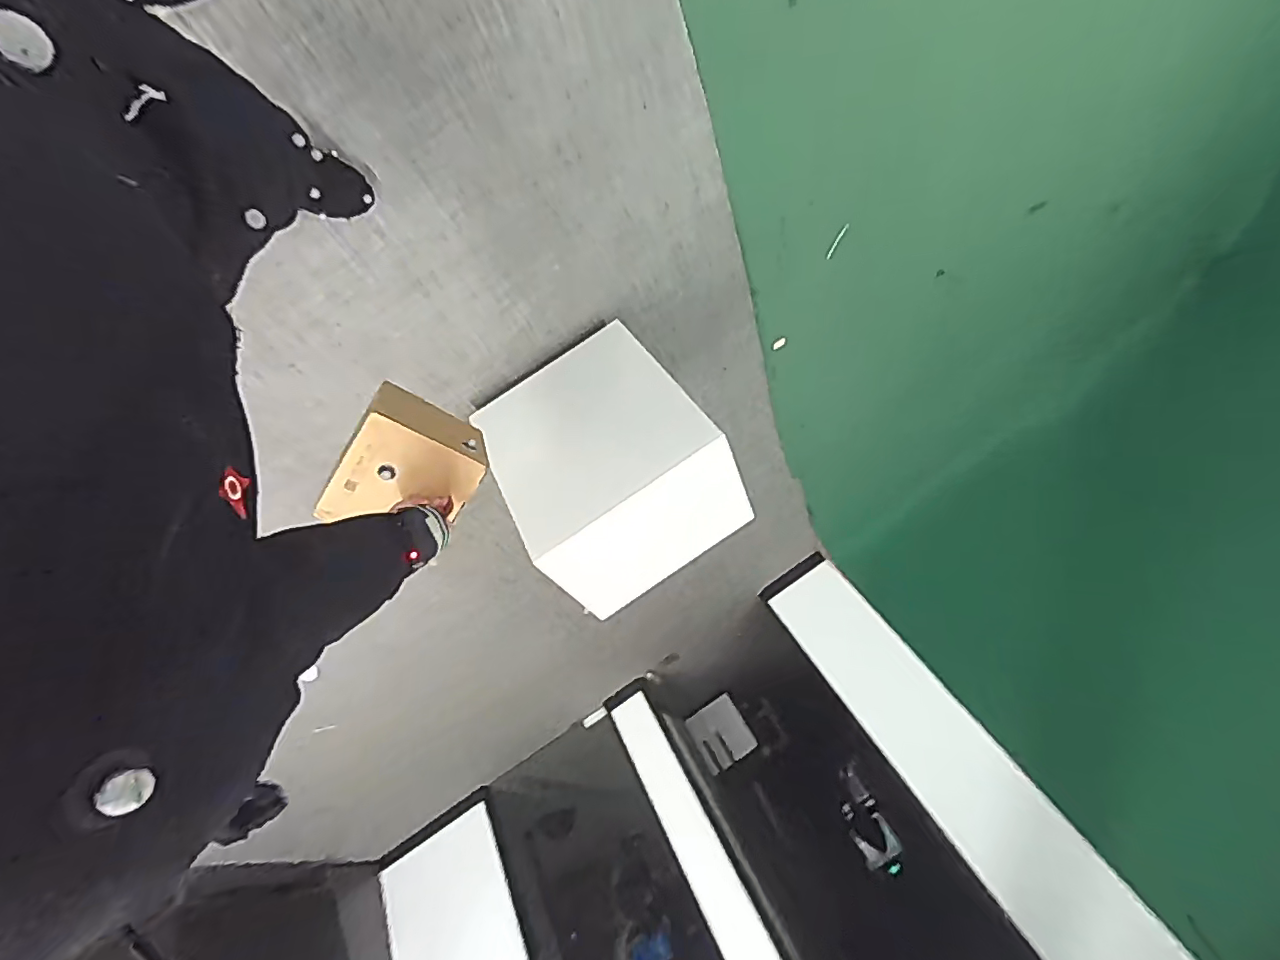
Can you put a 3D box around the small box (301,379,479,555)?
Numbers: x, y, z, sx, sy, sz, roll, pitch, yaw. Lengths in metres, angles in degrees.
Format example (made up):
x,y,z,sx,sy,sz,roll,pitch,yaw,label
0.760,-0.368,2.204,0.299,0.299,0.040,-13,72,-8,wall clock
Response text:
x,y,z,sx,sy,sz,roll,pitch,yaw,label
-0.360,-0.026,0.791,0.176,0.179,0.168,30,100,-30,small box
